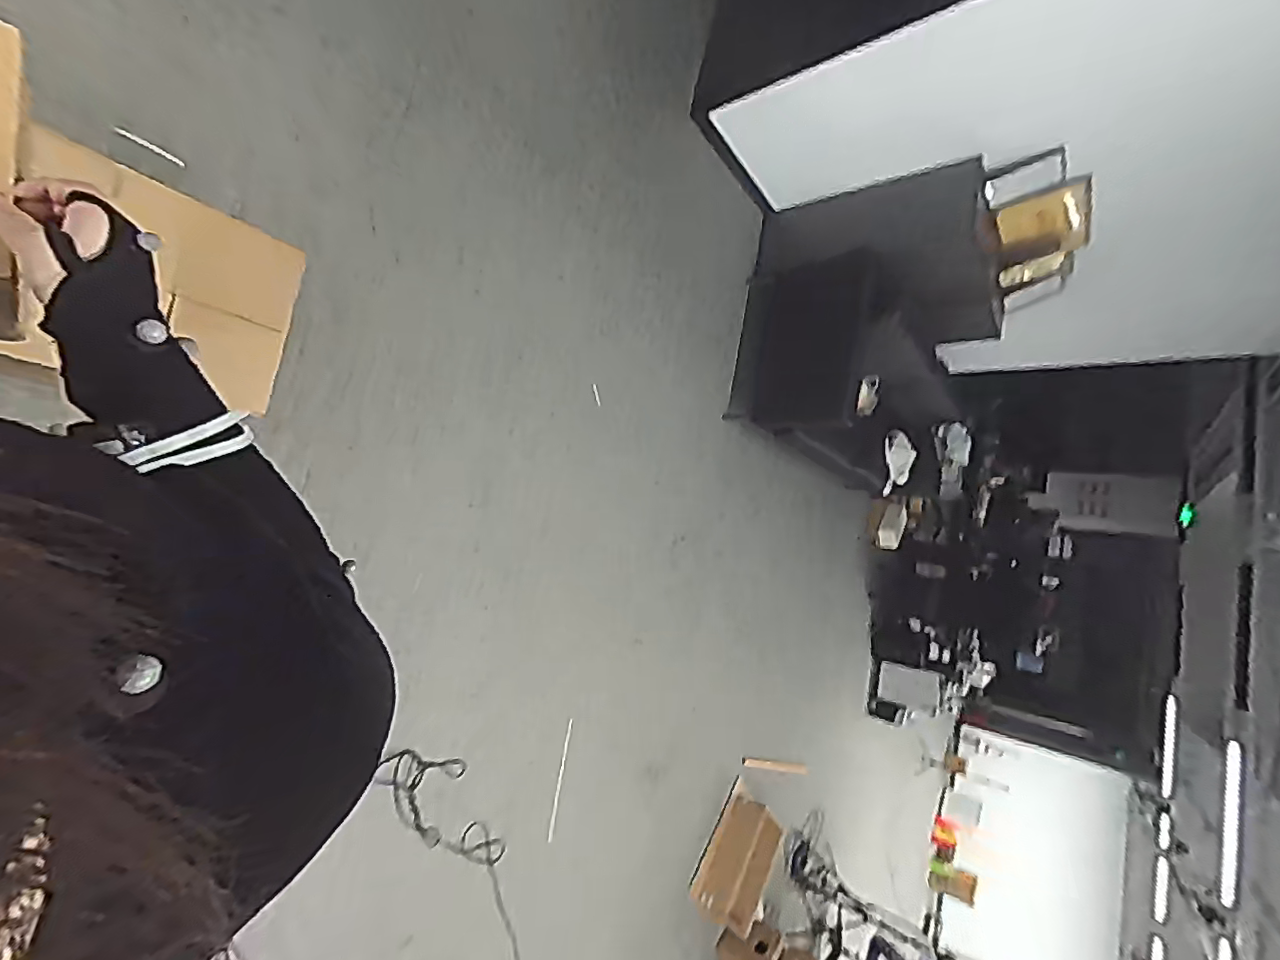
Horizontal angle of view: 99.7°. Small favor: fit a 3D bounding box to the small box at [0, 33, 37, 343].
[{"bbox_3d":[-0.523,-0.205,0.355,0.168,0.176,0.179,0,88,-47],"label":"small box"}]
